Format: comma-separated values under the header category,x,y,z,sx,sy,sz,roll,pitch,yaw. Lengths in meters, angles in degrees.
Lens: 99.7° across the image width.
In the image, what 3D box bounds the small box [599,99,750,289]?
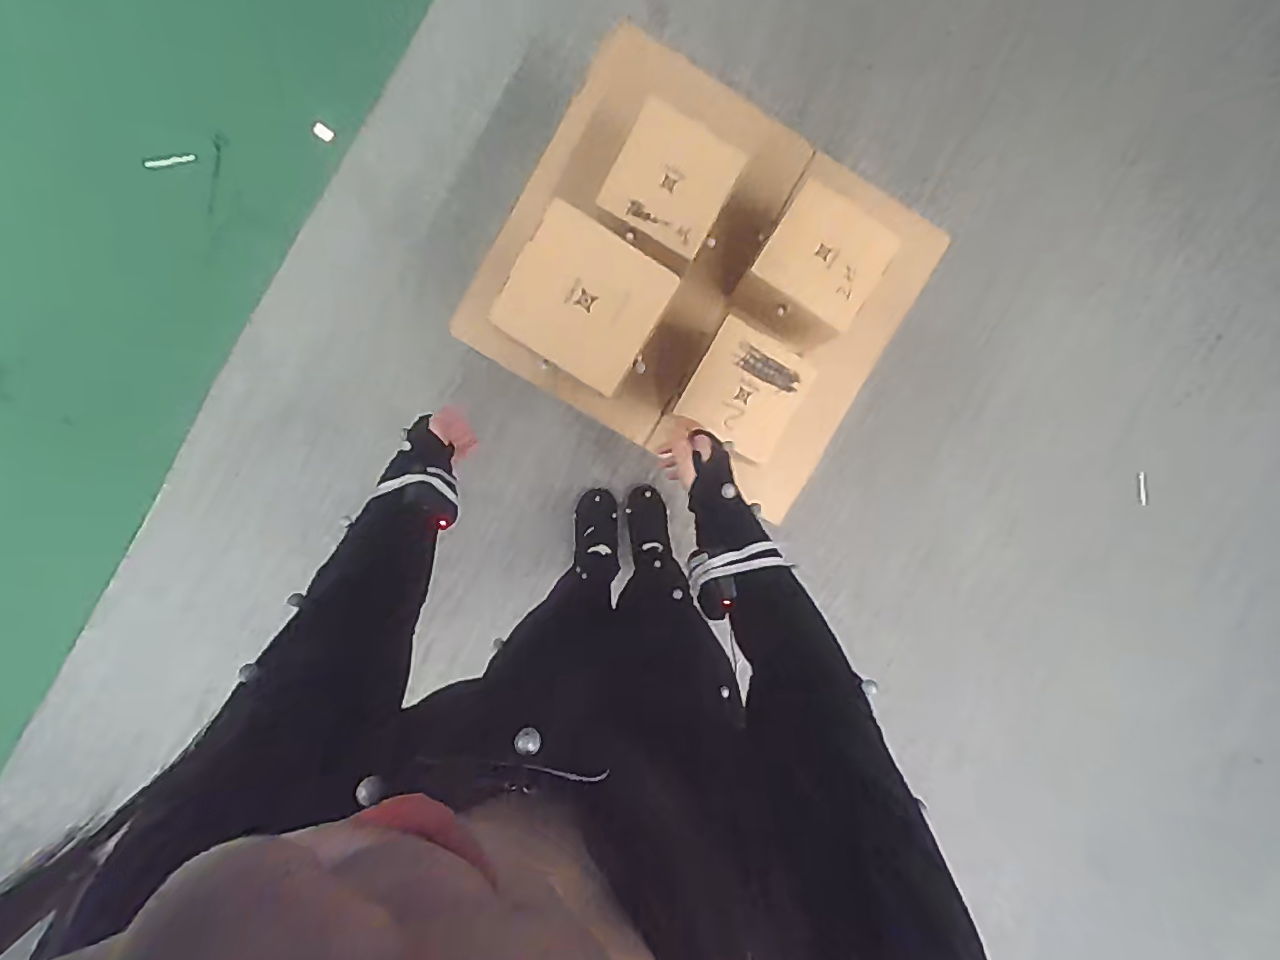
category,x,y,z,sx,sy,sz,roll,pitch,yaw
small box,0.047,-0.438,0.861,0.168,0.176,0.179,29,92,-3

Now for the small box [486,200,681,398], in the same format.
category,x,y,z,sx,sy,sz,roll,pitch,yaw
small box,-0.069,-0.218,0.713,0.179,0.176,0.168,32,94,-5
